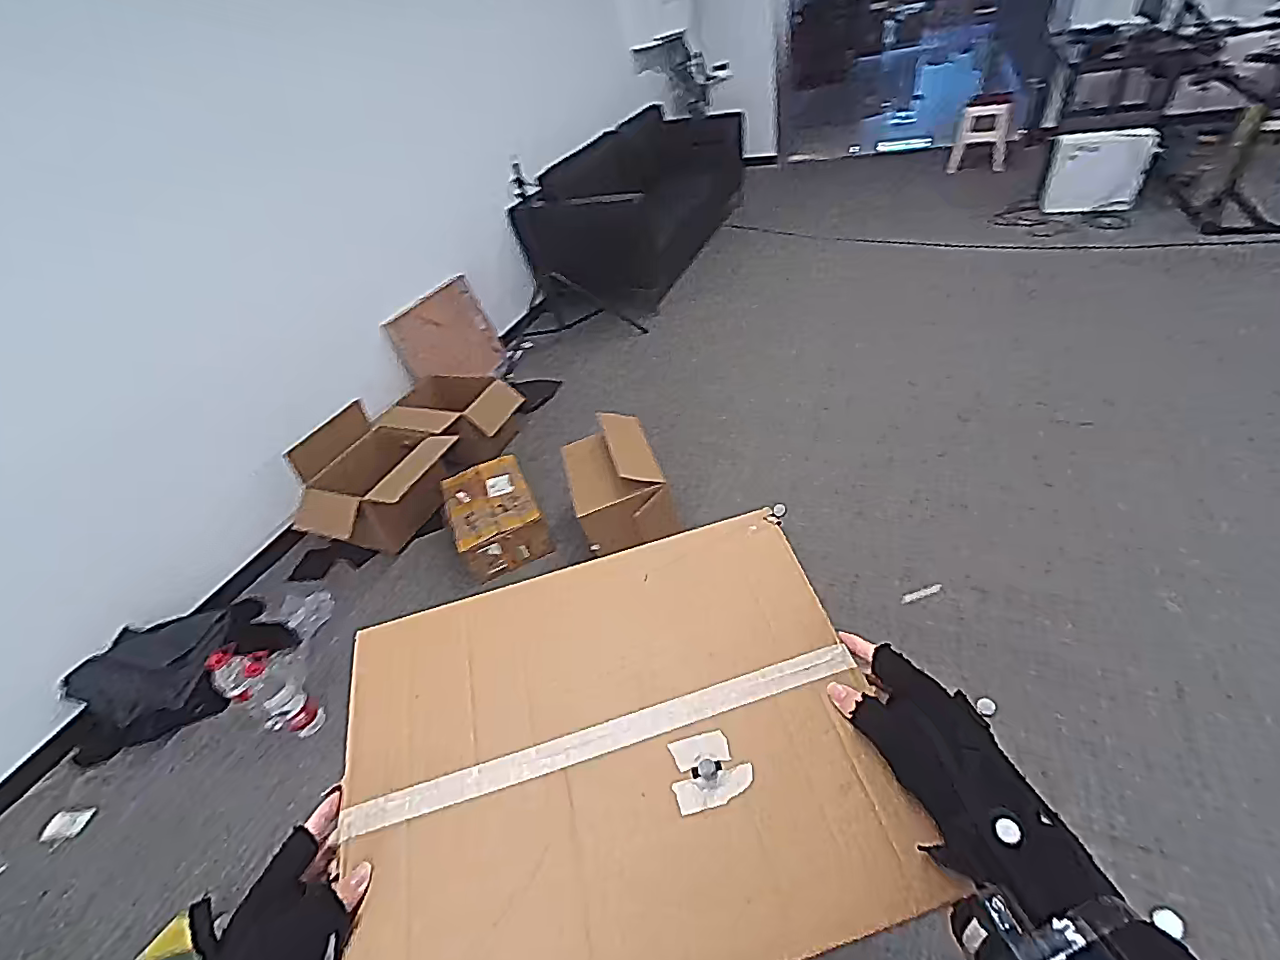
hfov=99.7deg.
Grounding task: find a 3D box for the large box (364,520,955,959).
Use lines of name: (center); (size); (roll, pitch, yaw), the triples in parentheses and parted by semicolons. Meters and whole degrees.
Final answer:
large box: (-0.001, 0.299, 0.546); (0.408, 0.320, 0.320); (-16, 51, -4)
